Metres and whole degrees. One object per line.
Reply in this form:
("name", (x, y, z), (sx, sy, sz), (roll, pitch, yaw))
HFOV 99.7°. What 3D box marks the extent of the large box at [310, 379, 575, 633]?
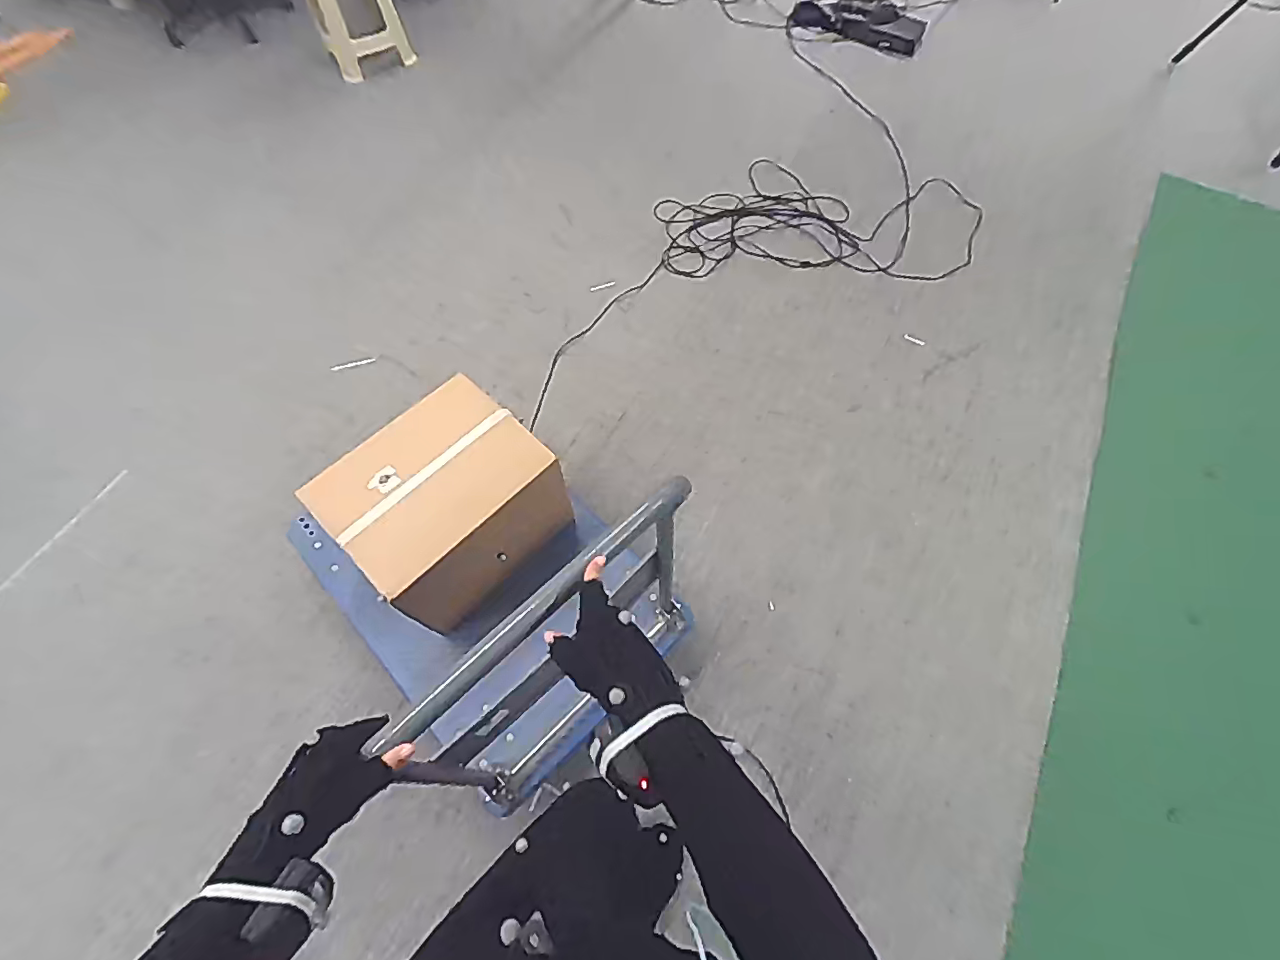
("large box", (-0.399, 0.066, 1.199), (0.320, 0.320, 0.408), (39, 70, 18))
